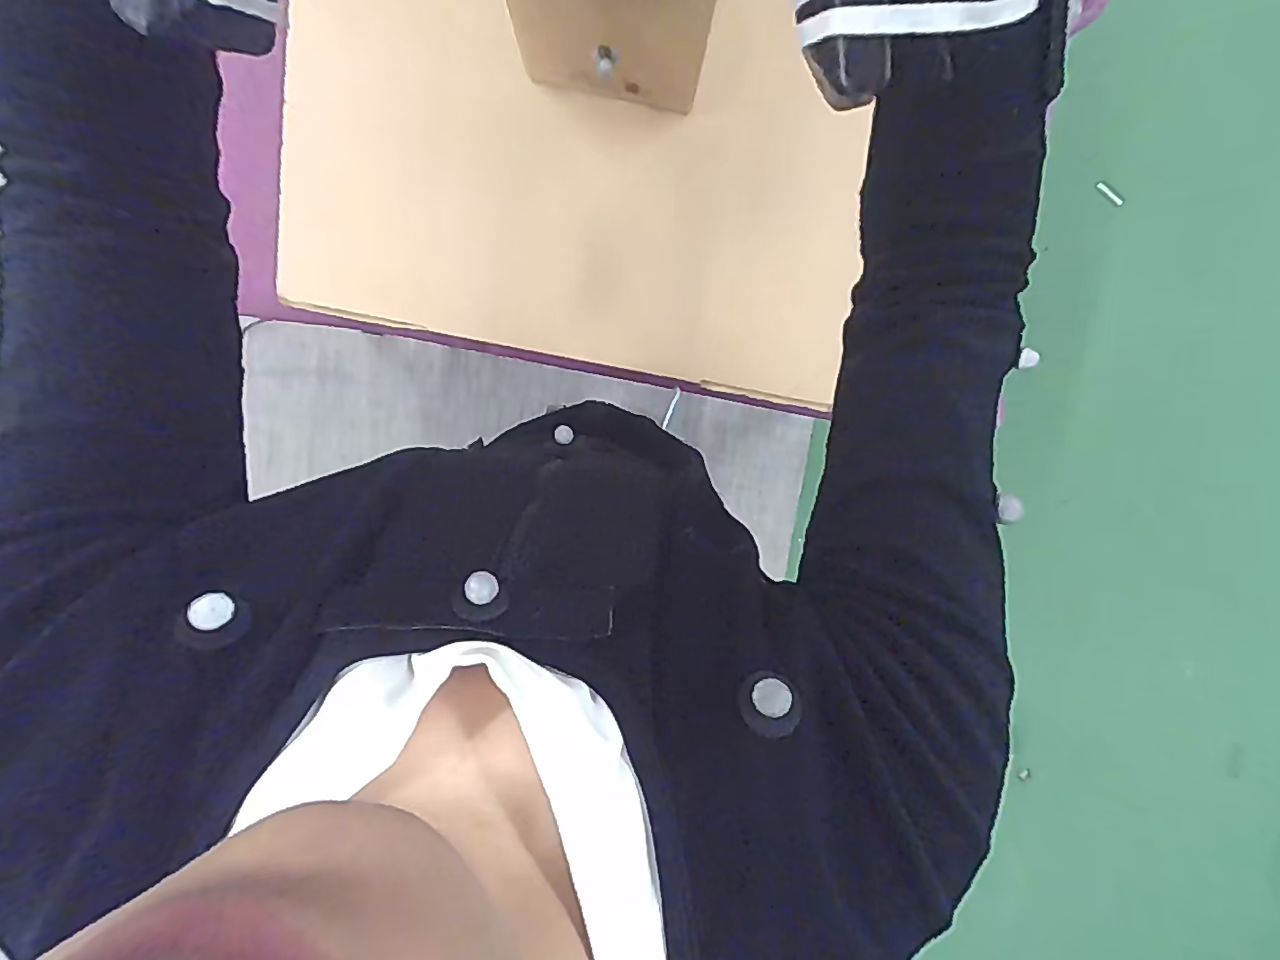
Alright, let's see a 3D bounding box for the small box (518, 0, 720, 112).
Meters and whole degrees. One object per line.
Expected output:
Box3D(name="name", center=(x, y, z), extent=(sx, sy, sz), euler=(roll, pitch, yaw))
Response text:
Box3D(name="small box", center=(-0.008, -0.450, 0.438), extent=(0.168, 0.176, 0.179), euler=(11, 95, -3))
